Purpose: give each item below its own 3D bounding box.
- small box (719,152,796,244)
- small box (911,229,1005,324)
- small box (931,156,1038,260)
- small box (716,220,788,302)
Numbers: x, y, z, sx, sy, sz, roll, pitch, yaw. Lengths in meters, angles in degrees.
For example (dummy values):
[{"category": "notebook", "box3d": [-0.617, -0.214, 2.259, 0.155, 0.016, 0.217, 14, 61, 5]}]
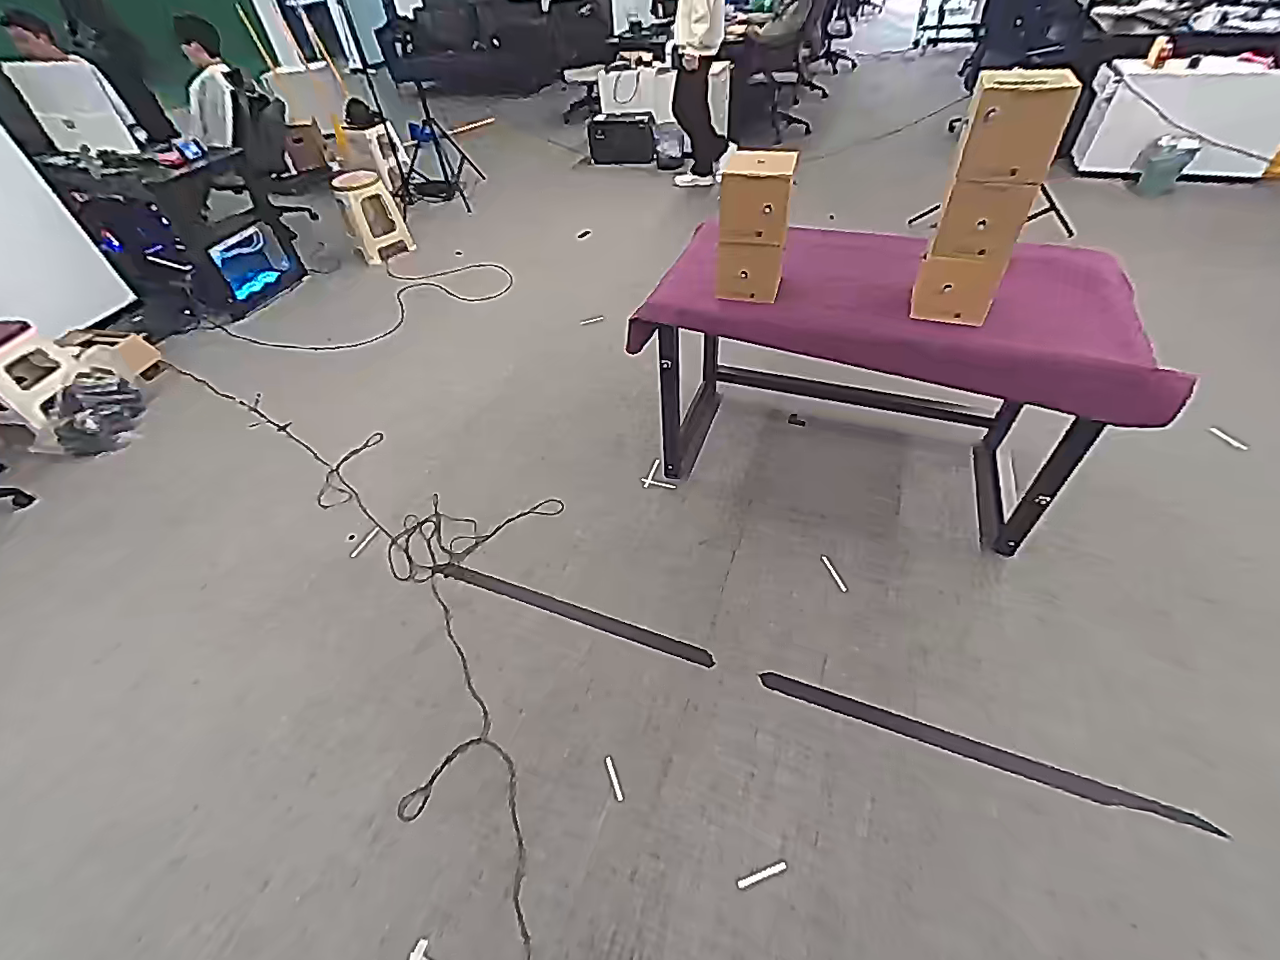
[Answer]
[{"category": "small box", "box3d": [0.299, -0.720, 1.384, 0.168, 0.176, 0.179, 10, 47, 12]}, {"category": "small box", "box3d": [0.801, -0.516, 1.374, 0.168, 0.176, 0.179, 13, 48, 17]}, {"category": "small box", "box3d": [0.792, -0.632, 1.258, 0.168, 0.176, 0.179, 14, 49, 18]}, {"category": "small box", "box3d": [0.309, -0.614, 1.507, 0.168, 0.176, 0.179, 11, 48, 14]}]
